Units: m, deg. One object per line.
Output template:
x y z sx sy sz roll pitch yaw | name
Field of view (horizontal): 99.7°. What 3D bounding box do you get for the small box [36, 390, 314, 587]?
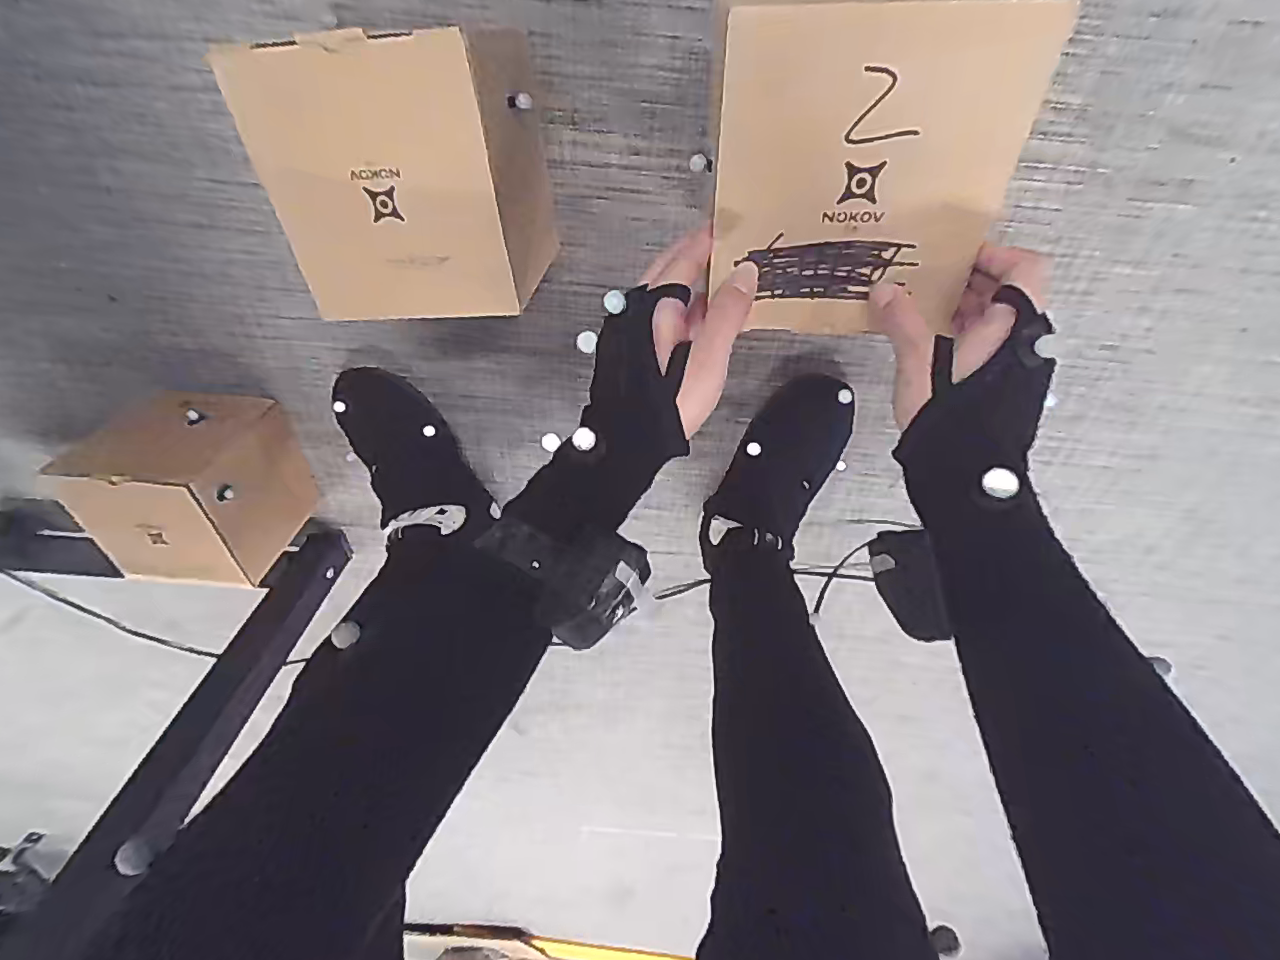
-0.553 0.009 0.681 0.168 0.176 0.179 4 129 2 | small box
